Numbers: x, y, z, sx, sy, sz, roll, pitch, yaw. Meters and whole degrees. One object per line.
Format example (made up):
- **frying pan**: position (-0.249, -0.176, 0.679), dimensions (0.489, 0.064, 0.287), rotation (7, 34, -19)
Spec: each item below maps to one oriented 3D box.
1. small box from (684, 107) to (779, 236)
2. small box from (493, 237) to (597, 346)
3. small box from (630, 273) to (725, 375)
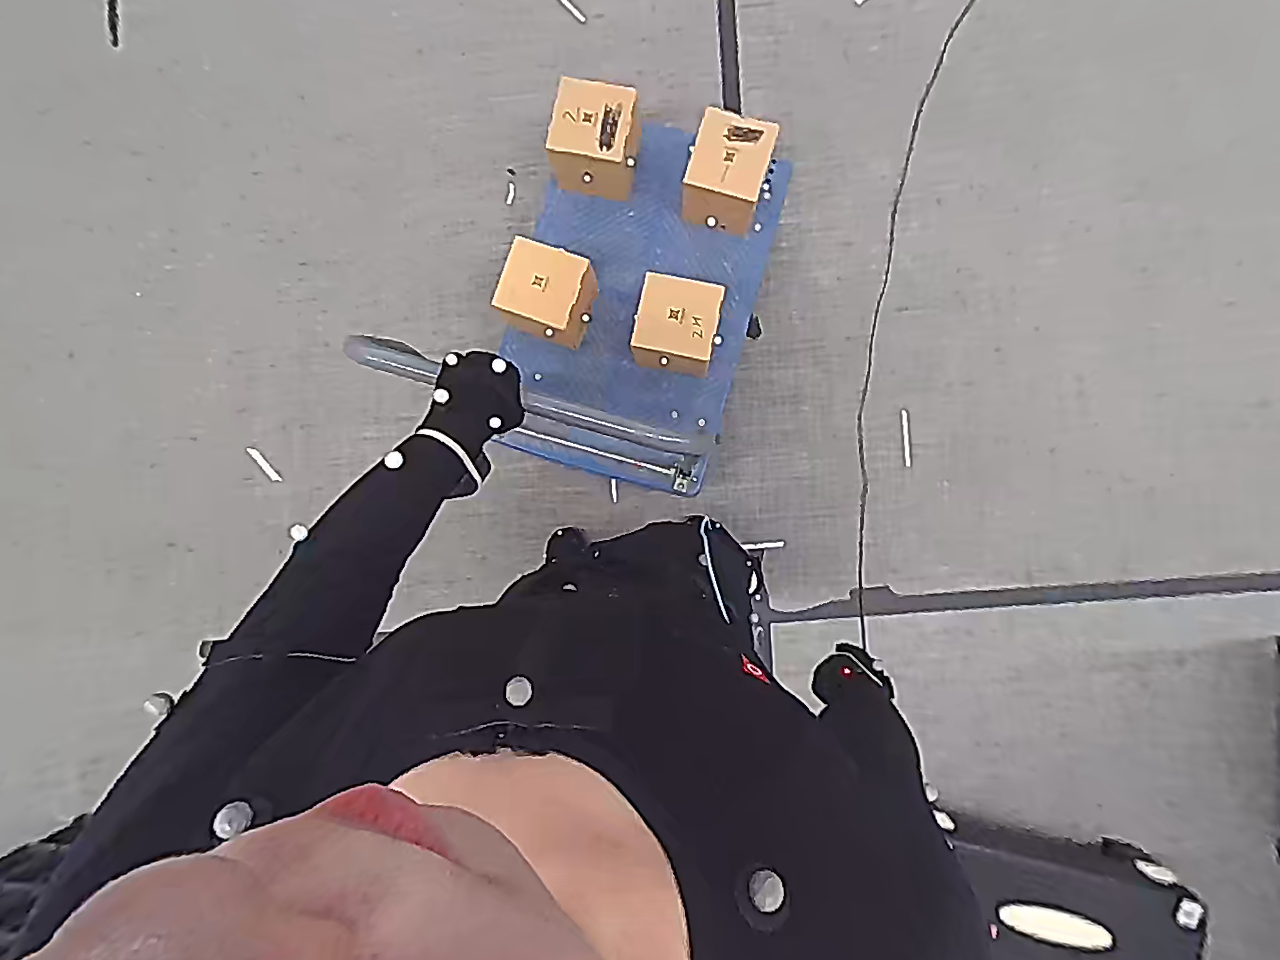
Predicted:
- **small box**: position (0.201, -0.698, 1.240), dimensions (0.168, 0.176, 0.179), rotation (18, 91, 4)
- **small box**: position (-0.213, -0.428, 1.259), dimensions (0.179, 0.176, 0.168), rotation (19, 89, 2)
- **small box**: position (0.086, -0.349, 1.239), dimensions (0.179, 0.176, 0.168), rotation (13, 90, 4)
